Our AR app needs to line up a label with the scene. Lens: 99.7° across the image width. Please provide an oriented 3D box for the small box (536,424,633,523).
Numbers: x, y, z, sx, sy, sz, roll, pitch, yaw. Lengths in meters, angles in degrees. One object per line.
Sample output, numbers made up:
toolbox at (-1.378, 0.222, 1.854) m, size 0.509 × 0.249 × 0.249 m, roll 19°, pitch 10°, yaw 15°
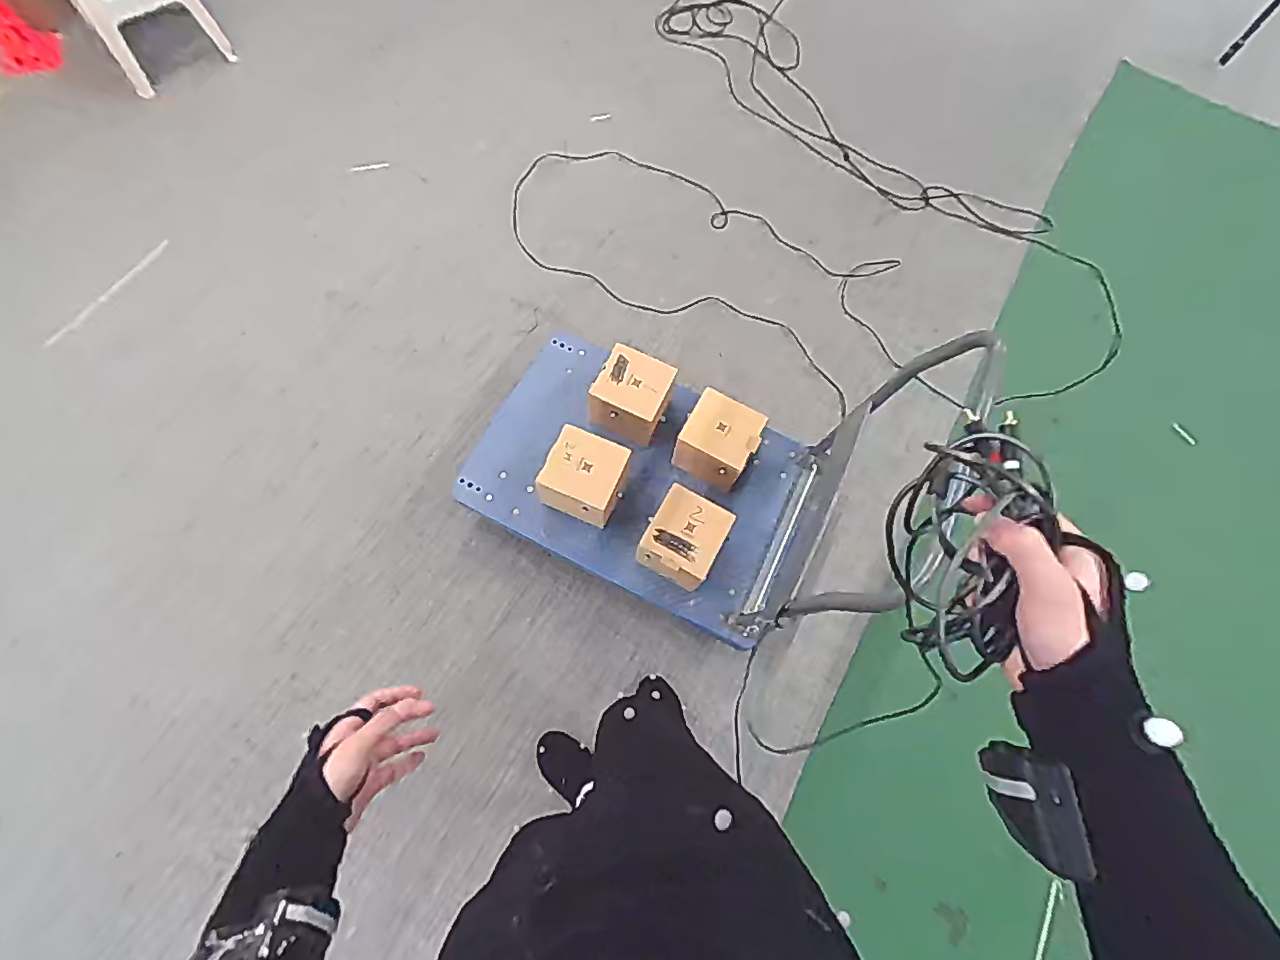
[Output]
small box at (-0.133, -0.007, 1.326) m, size 0.179 × 0.176 × 0.168 m, roll 23°, pitch 70°, yaw 4°

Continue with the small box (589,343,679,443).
small box at (-0.018, -0.218, 1.408) m, size 0.179 × 0.176 × 0.168 m, roll 26°, pitch 72°, yaw 4°

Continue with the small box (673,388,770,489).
small box at (0.200, -0.098, 1.384) m, size 0.179 × 0.176 × 0.168 m, roll 29°, pitch 72°, yaw 5°
